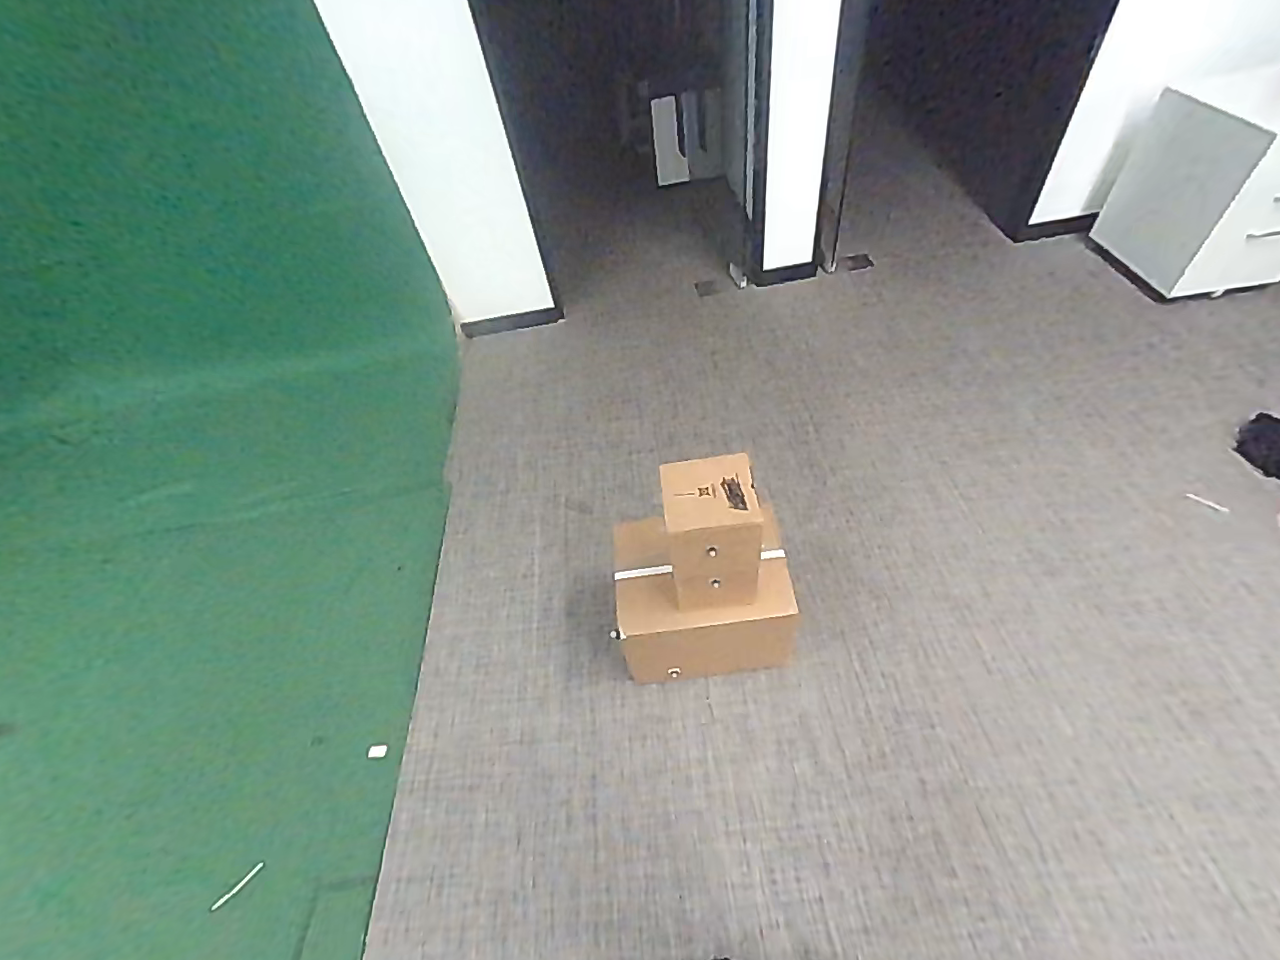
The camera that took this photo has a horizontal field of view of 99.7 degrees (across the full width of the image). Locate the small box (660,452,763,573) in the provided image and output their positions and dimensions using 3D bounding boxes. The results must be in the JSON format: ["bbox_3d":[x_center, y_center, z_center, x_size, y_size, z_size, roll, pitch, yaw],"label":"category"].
[{"bbox_3d":[0.140,0.068,1.071,0.179,0.176,0.168,-9,51,5],"label":"small box"}]

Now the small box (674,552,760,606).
[{"bbox_3d":[0.163,0.166,1.201,0.179,0.176,0.168,-8,51,3],"label":"small box"}]
